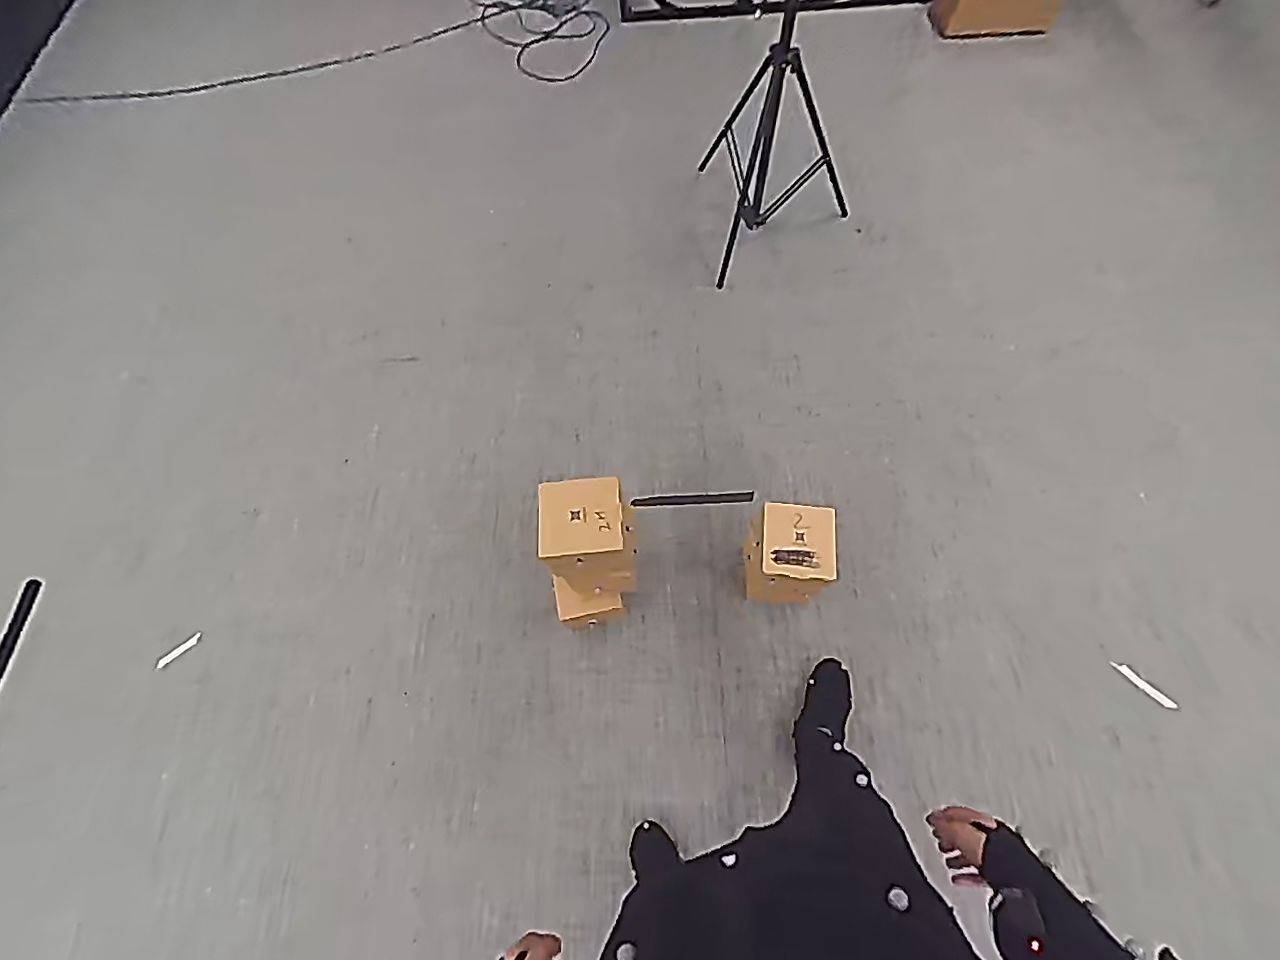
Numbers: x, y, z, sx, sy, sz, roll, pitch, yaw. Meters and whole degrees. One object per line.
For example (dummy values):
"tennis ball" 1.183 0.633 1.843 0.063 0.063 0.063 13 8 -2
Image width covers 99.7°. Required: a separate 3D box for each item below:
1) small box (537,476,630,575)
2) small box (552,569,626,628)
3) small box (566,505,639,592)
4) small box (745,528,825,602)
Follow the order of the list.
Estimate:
"small box" -0.119 0.104 1.181 0.179 0.176 0.168 -5 66 2
"small box" -0.137 0.288 1.460 0.168 0.176 0.179 -12 67 -1
"small box" -0.094 0.169 1.331 0.168 0.176 0.179 1 67 5
"small box" 0.381 0.232 1.454 0.179 0.176 0.168 -1 67 2
